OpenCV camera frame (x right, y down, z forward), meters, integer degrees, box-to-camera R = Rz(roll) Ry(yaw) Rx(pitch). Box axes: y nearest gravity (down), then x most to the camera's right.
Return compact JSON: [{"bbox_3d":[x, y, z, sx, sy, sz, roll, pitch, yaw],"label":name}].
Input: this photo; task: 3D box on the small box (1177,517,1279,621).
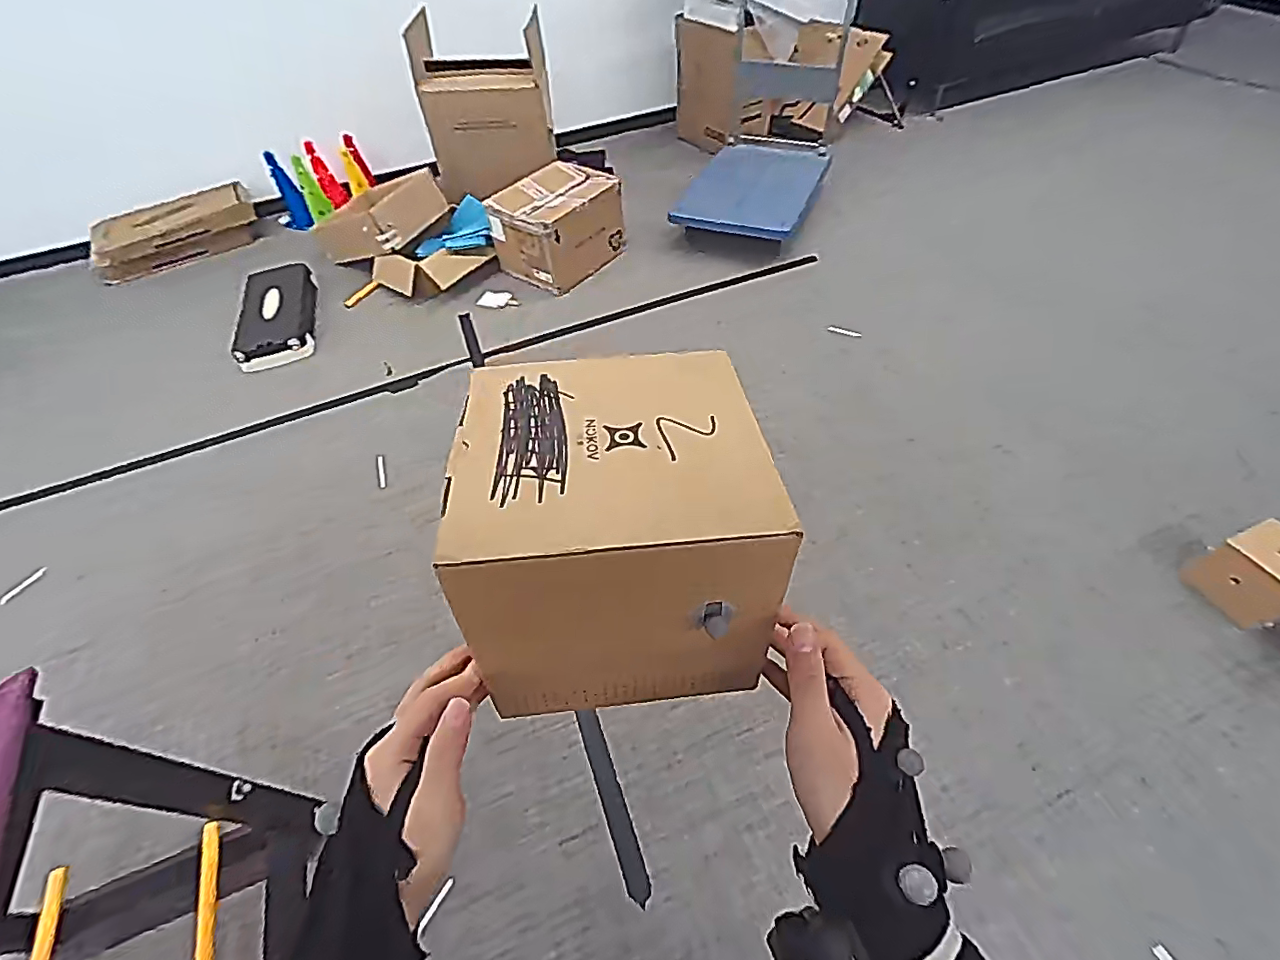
[{"bbox_3d":[1.521,0.229,1.339,0.168,0.176,0.179,-20,51,-10],"label":"small box"}]
